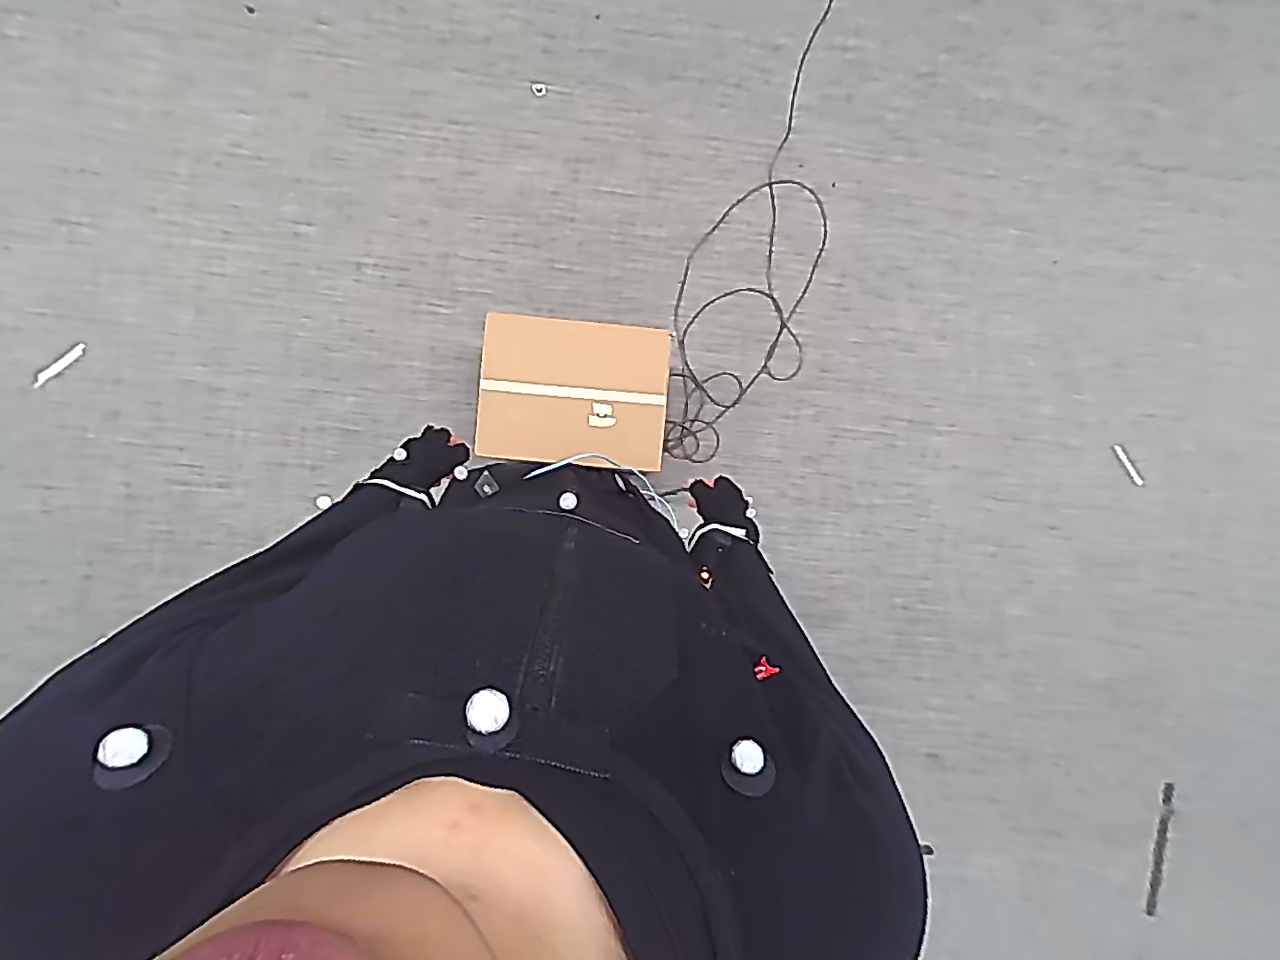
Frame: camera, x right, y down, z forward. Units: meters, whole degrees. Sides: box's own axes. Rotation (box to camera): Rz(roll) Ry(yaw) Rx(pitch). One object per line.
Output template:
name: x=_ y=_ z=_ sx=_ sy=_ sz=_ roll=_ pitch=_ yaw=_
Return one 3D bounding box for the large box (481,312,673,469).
large box: x=-0.147 y=-0.198 z=1.330 sx=0.408 sy=0.320 sz=0.320 roll=5 pitch=91 yaw=-3
